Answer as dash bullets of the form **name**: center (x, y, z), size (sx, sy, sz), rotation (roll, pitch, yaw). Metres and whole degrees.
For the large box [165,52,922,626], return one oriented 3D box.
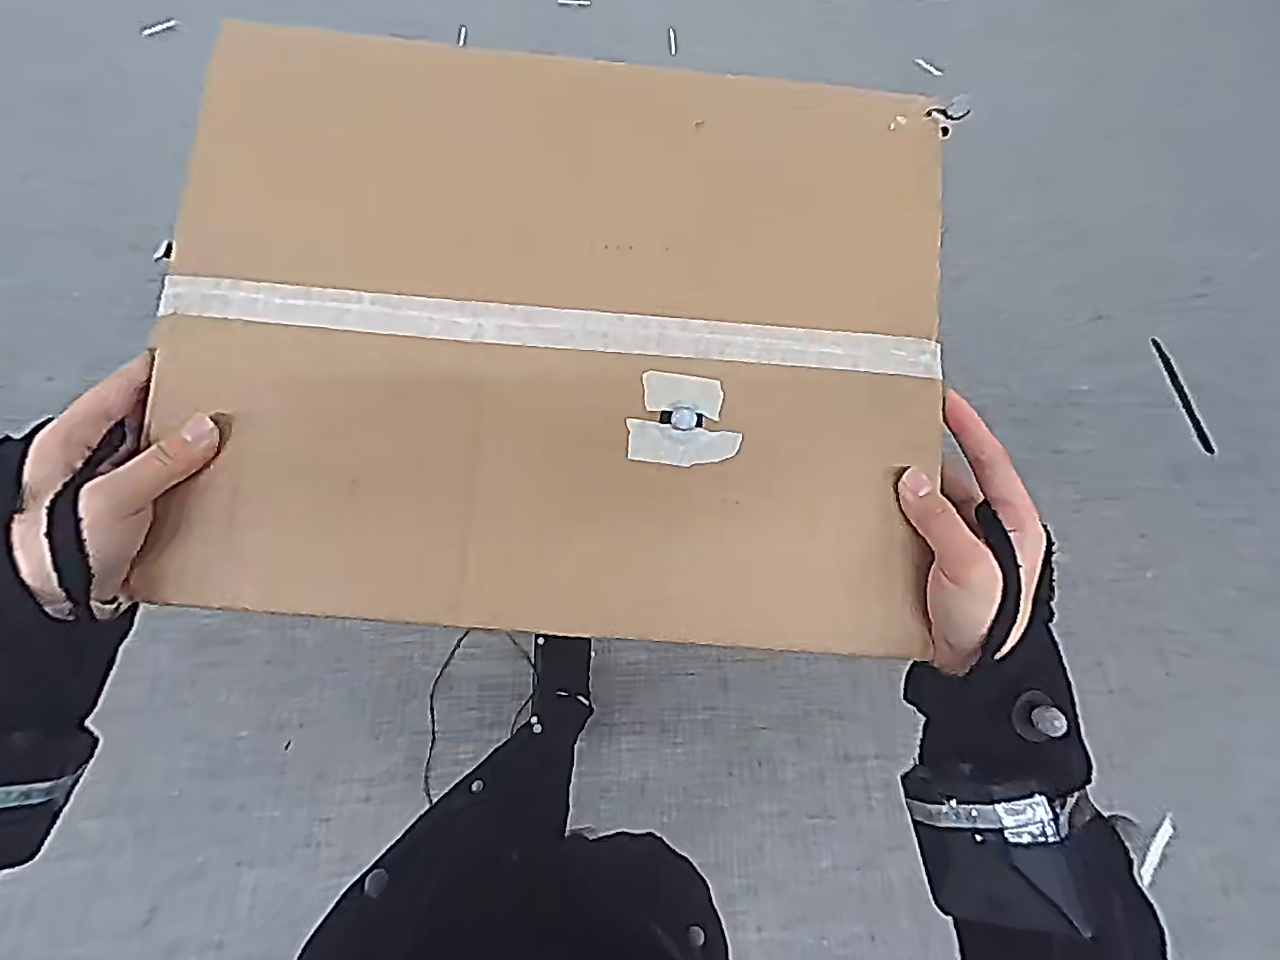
- **large box**: center (-0.047, -0.068, 0.450), size (0.408, 0.320, 0.320), rotation (5, 85, -2)
